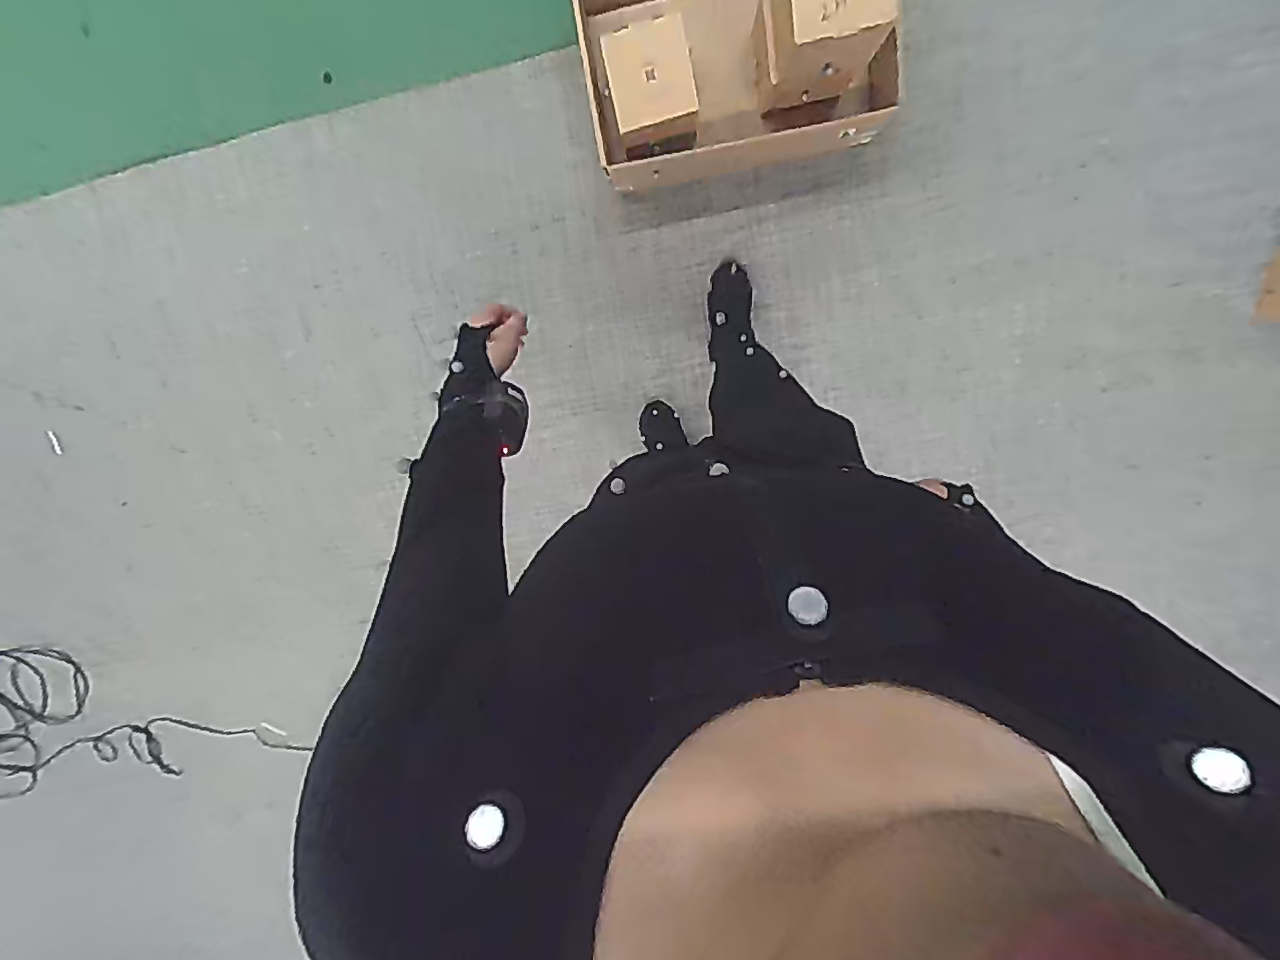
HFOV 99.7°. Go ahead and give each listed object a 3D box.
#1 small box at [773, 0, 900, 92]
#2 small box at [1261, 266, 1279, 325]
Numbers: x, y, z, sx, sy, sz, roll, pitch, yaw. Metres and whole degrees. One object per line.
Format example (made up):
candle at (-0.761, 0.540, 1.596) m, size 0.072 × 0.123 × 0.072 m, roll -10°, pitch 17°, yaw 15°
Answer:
small box at (0.330, -0.816, 0.933) m, size 0.168 × 0.176 × 0.179 m, roll -9°, pitch 105°, yaw 7°
small box at (1.547, -0.426, 1.180) m, size 0.179 × 0.176 × 0.168 m, roll 2°, pitch 105°, yaw 4°
